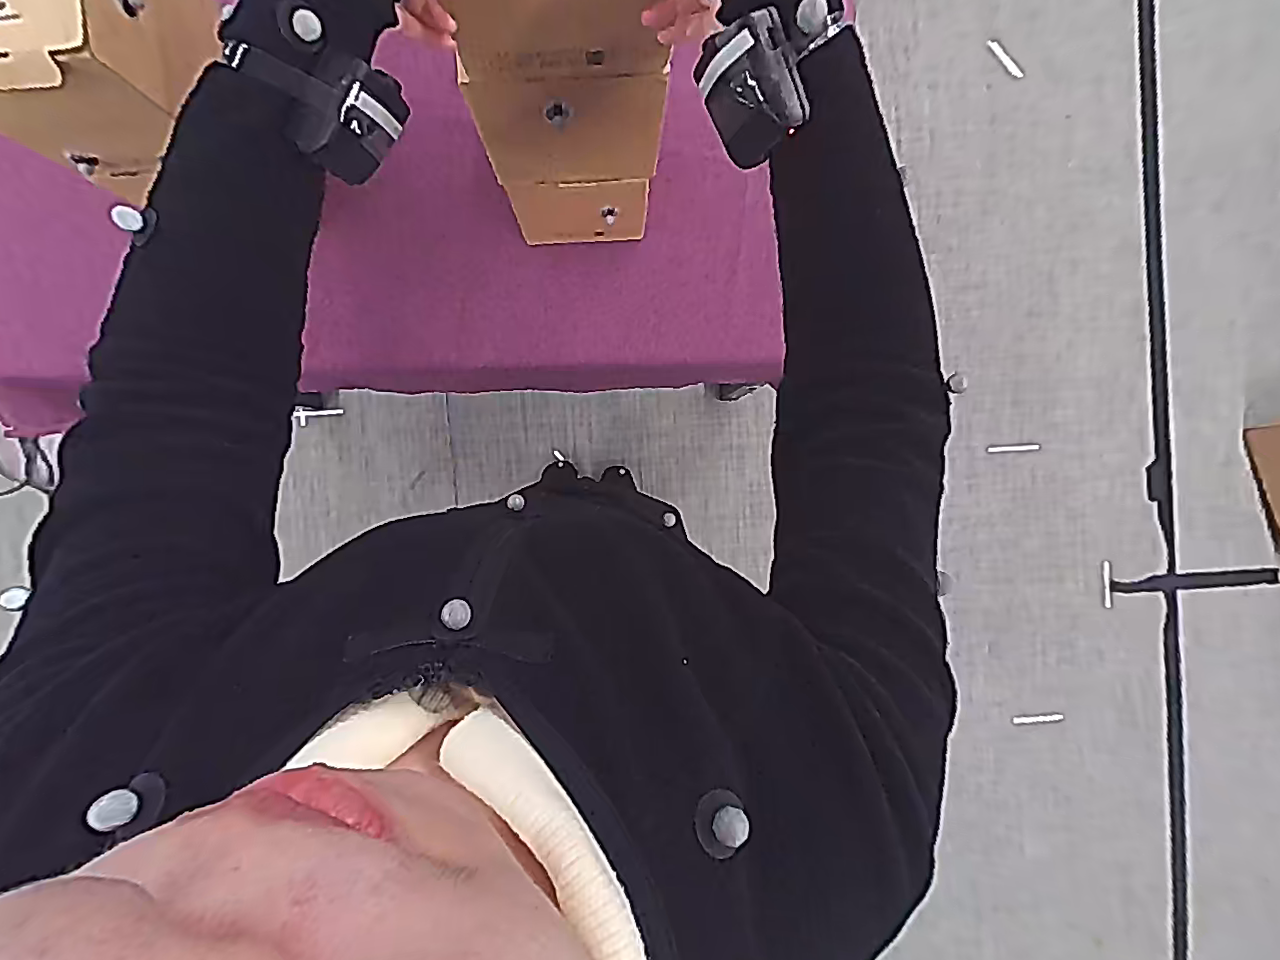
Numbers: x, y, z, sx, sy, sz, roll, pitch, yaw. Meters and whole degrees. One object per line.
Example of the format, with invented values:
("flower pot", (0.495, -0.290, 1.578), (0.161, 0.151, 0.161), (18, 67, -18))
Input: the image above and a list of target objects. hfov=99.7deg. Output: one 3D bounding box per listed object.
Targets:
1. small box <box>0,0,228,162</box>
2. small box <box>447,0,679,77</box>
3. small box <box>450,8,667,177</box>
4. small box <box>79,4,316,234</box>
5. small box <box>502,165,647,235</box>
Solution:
("small box", (-0.520, -0.417, 0.495), (0.168, 0.176, 0.179), (-5, 93, -3))
("small box", (-0.058, -0.410, 0.351), (0.168, 0.176, 0.179), (-5, 93, -3))
("small box", (-0.071, -0.413, 0.516), (0.179, 0.176, 0.168), (-4, 94, -3))
("small box", (-0.527, -0.424, 0.659), (0.168, 0.176, 0.179), (-4, 94, -3))
("small box", (-0.078, -0.423, 0.679), (0.168, 0.176, 0.179), (-3, 92, -3))
